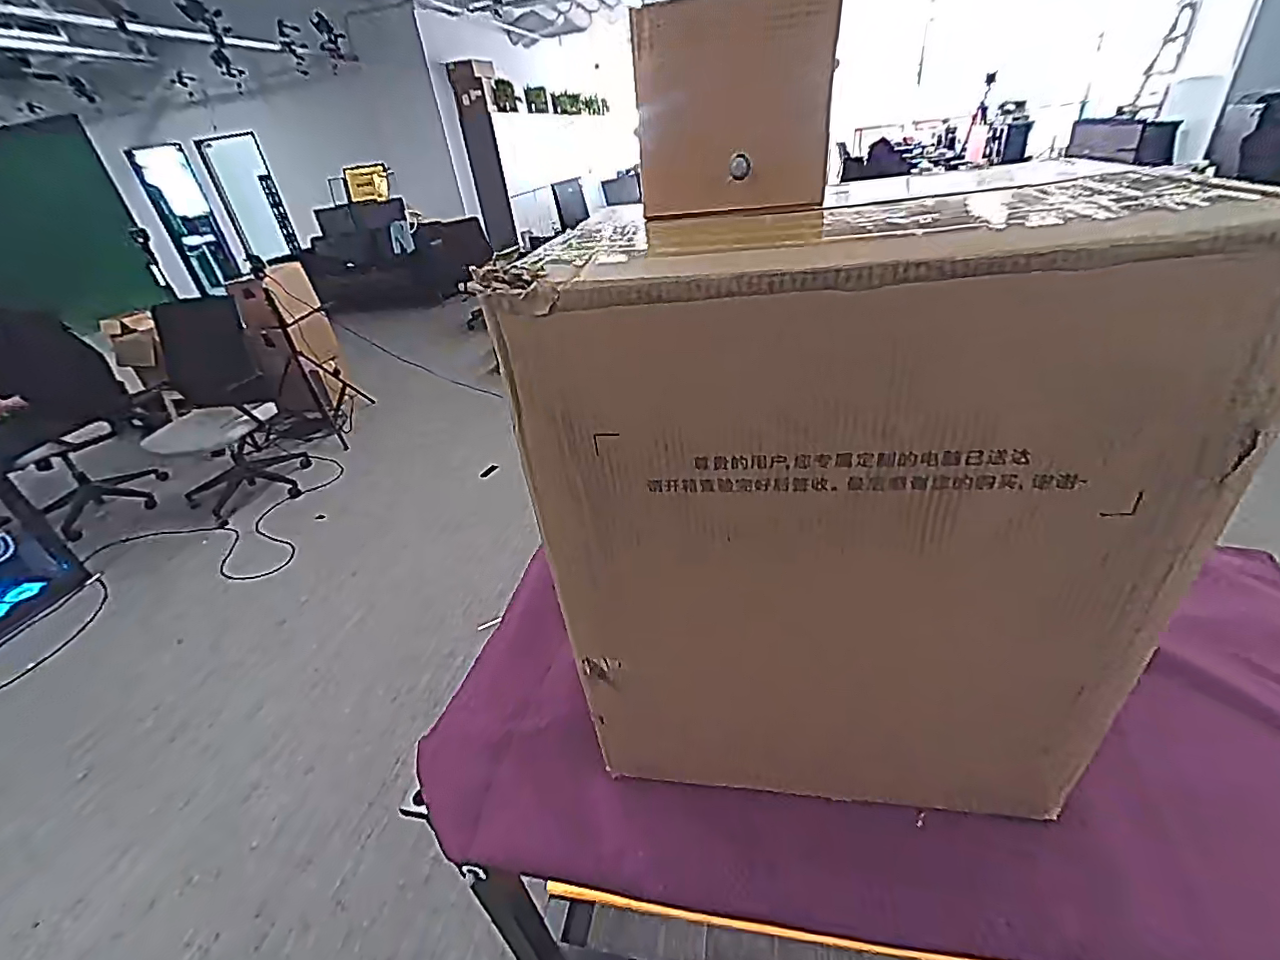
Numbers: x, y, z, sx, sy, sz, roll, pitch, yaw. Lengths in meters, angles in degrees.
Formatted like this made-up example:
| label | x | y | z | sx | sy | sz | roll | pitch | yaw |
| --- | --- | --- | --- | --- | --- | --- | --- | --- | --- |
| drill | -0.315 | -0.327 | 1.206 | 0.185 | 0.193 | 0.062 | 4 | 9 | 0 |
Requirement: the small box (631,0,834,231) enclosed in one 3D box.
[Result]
| label | x | y | z | sx | sy | sz | roll | pitch | yaw |
| --- | --- | --- | --- | --- | --- | --- | --- | --- | --- |
| small box | 0.091 | -0.362 | 0.551 | 0.179 | 0.176 | 0.168 | 1 | 33 | 13 |
